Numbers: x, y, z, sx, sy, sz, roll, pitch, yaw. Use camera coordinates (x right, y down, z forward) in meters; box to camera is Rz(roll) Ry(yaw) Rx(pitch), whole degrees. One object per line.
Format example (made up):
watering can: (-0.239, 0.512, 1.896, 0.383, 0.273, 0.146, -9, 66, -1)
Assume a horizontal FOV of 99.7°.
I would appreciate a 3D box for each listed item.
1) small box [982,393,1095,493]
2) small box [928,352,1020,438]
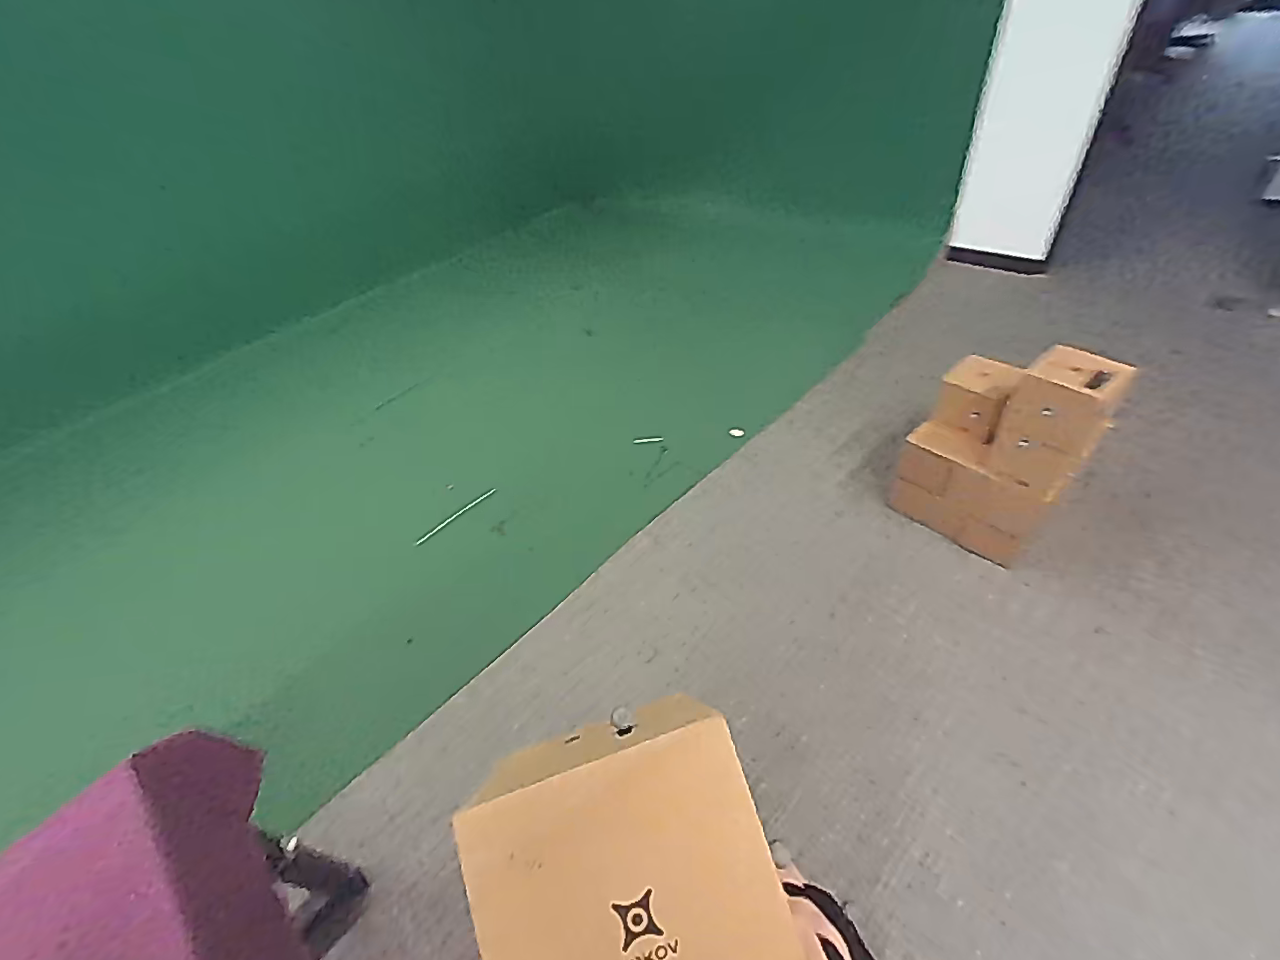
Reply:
small box: (1.063, -0.099, 1.458, 0.179, 0.176, 0.168, -33, 48, -23)
small box: (1.002, -0.255, 1.637, 0.179, 0.176, 0.168, -35, 48, -24)
